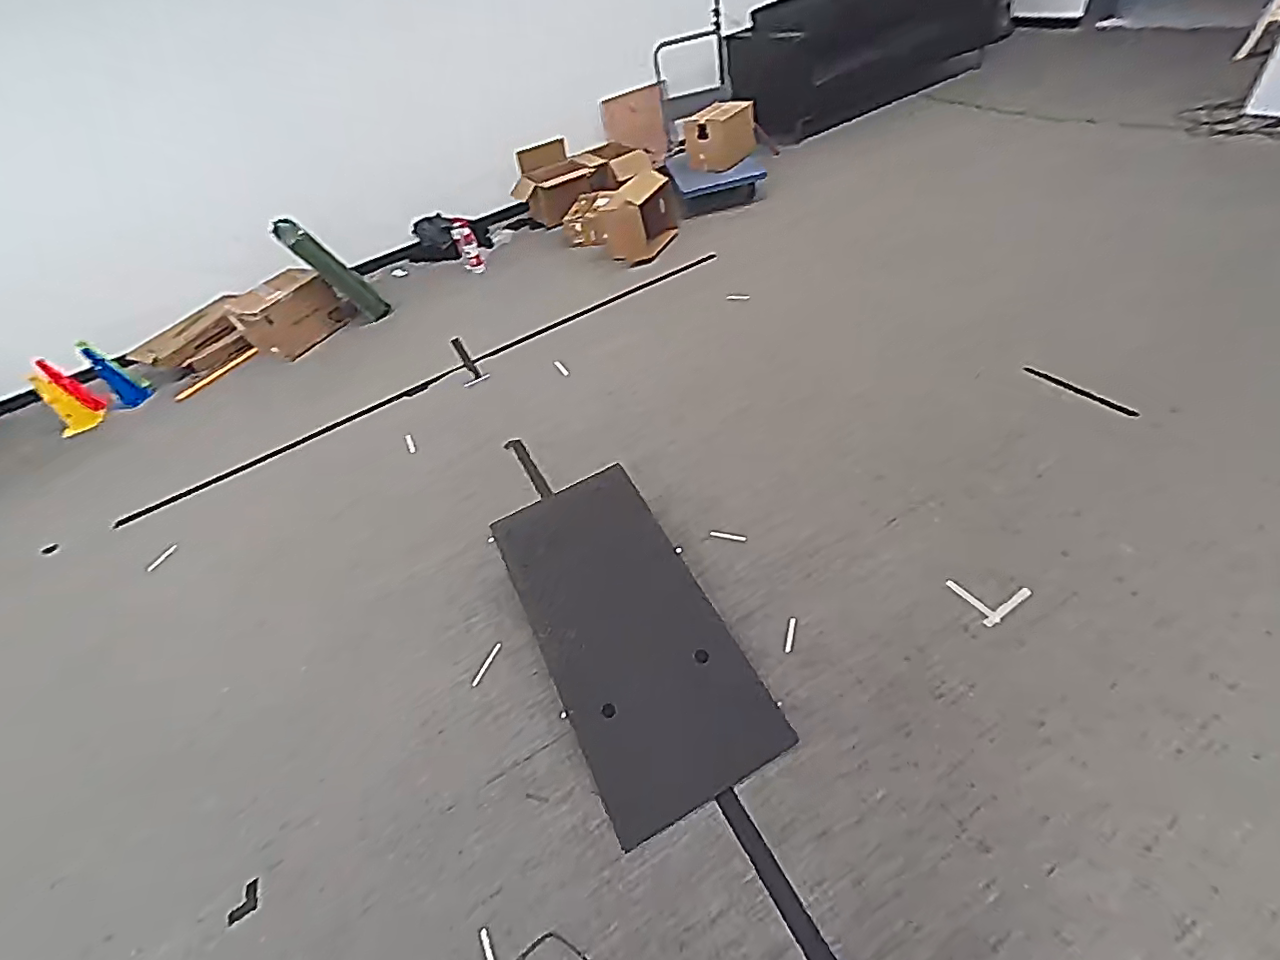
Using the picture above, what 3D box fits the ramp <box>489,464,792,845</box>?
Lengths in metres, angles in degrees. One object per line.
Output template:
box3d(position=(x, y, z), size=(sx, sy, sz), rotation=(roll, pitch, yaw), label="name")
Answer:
box3d(position=(-0.054, 0.396, 1.564), size=(0.509, 0.206, 0.991), rotation=(-27, 47, -13), label="ramp")
